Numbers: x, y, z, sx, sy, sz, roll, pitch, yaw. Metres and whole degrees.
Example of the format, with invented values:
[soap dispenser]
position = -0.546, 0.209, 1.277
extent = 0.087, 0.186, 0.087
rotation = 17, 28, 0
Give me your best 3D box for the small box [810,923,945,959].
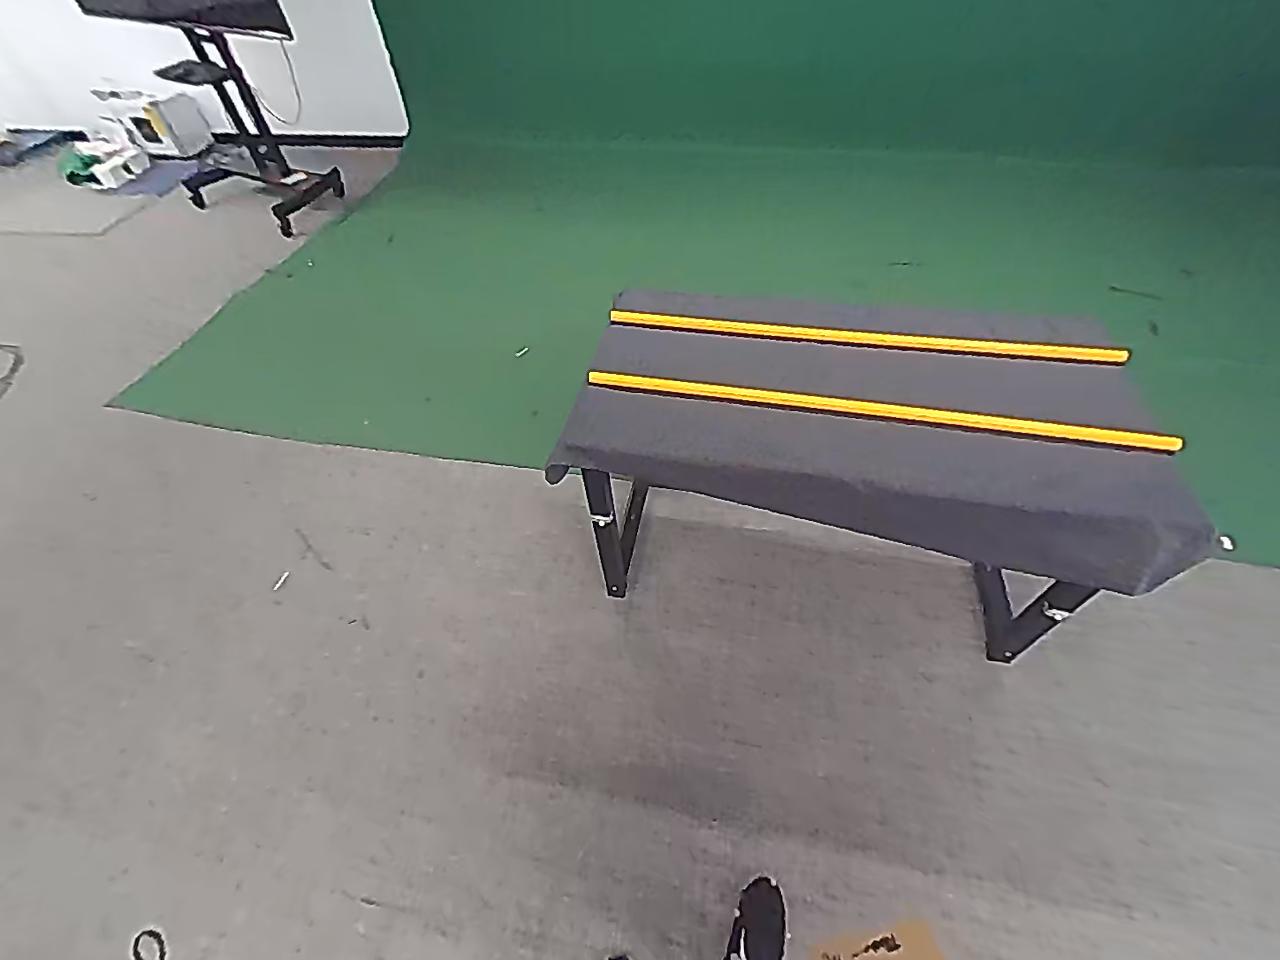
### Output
[small box]
position = 0.331, 0.704, 0.649
extent = 0.168, 0.179, 0.176
rotation = -18, 92, 1
